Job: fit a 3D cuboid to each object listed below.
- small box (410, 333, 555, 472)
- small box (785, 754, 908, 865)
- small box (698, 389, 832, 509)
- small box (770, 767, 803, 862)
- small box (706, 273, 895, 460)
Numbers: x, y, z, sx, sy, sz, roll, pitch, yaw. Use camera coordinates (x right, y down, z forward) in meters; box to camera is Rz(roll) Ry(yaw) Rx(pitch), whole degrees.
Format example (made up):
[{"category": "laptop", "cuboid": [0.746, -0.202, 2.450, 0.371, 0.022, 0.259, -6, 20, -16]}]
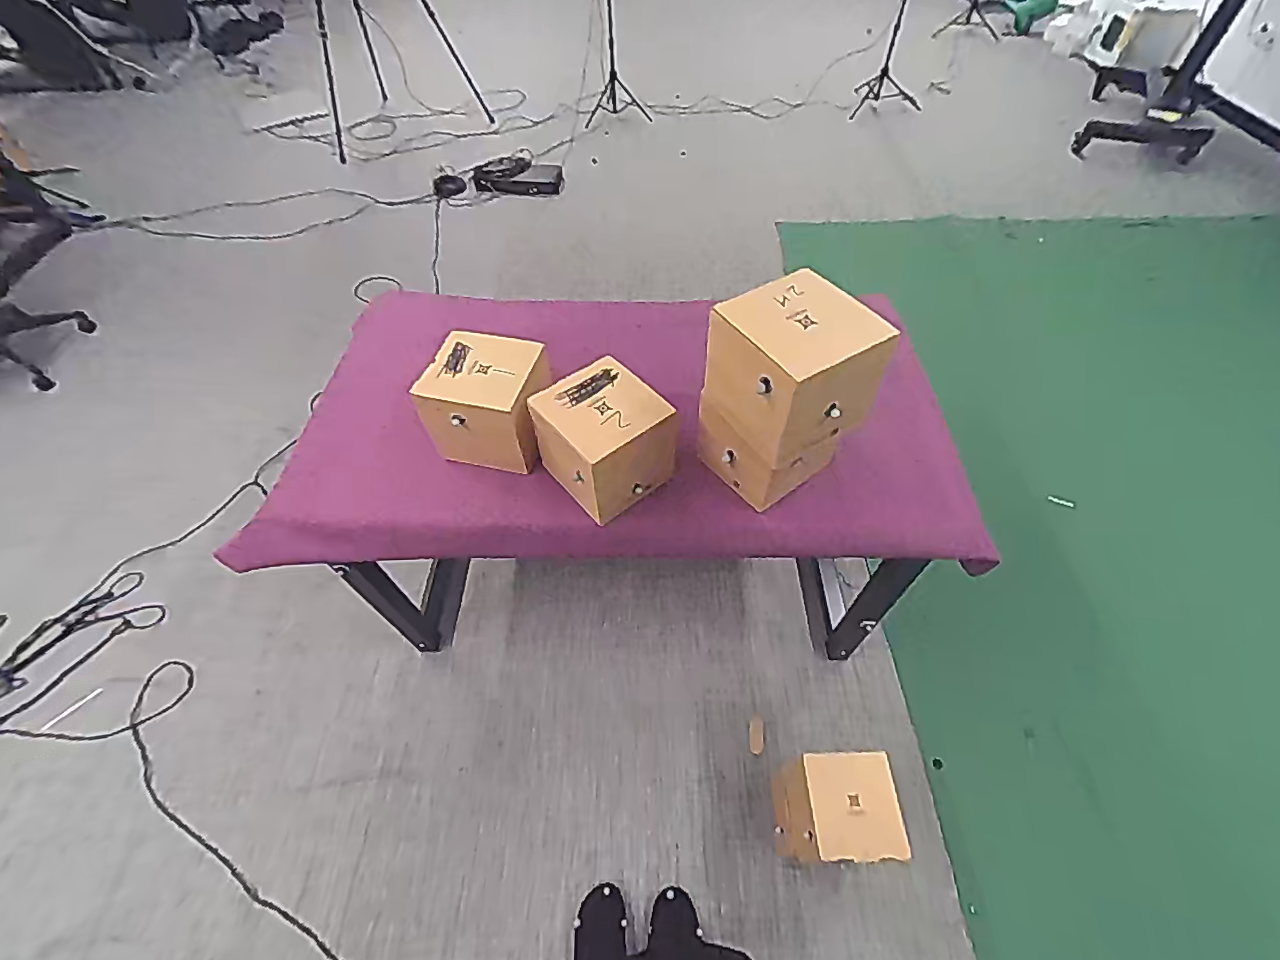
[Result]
[{"category": "small box", "cuboid": [-0.265, -0.133, 0.959, 0.179, 0.176, 0.168, 11, 55, 8]}, {"category": "small box", "cuboid": [0.393, 0.652, 1.067, 0.168, 0.176, 0.179, -1, 55, 0]}, {"category": "small box", "cuboid": [0.214, -0.082, 0.910, 0.179, 0.176, 0.168, -33, 59, -20]}, {"category": "small box", "cuboid": [0.390, 0.746, 1.199, 0.179, 0.176, 0.168, 1, 54, 2]}, {"category": "small box", "cuboid": [0.208, -0.150, 0.754, 0.168, 0.176, 0.179, -26, 55, -17]}]
